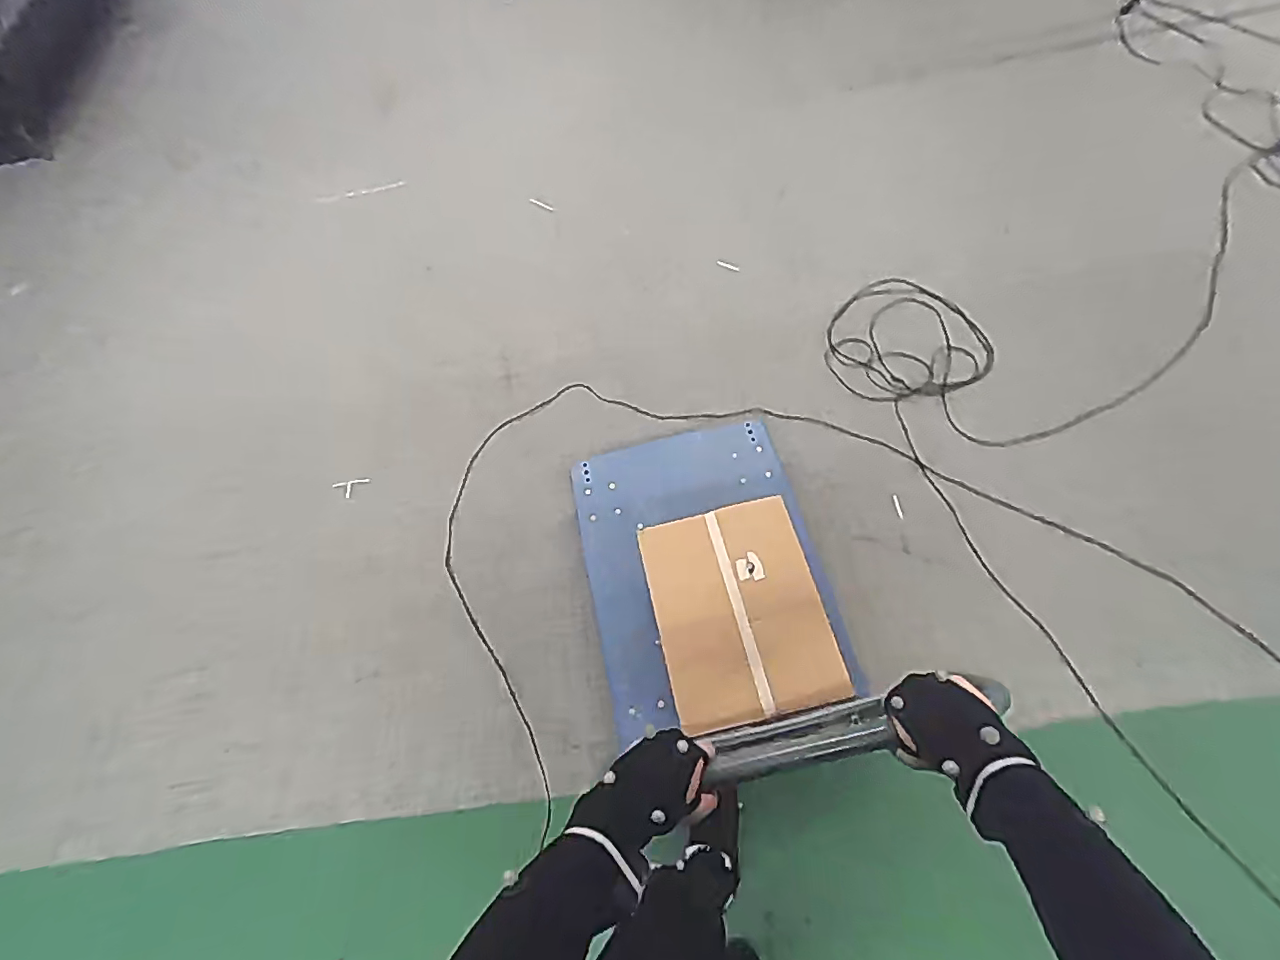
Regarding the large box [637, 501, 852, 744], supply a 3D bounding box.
[{"bbox_3d":[0.202,0.317,1.172,0.320,0.320,0.408,-14,62,-1],"label":"large box"}]
